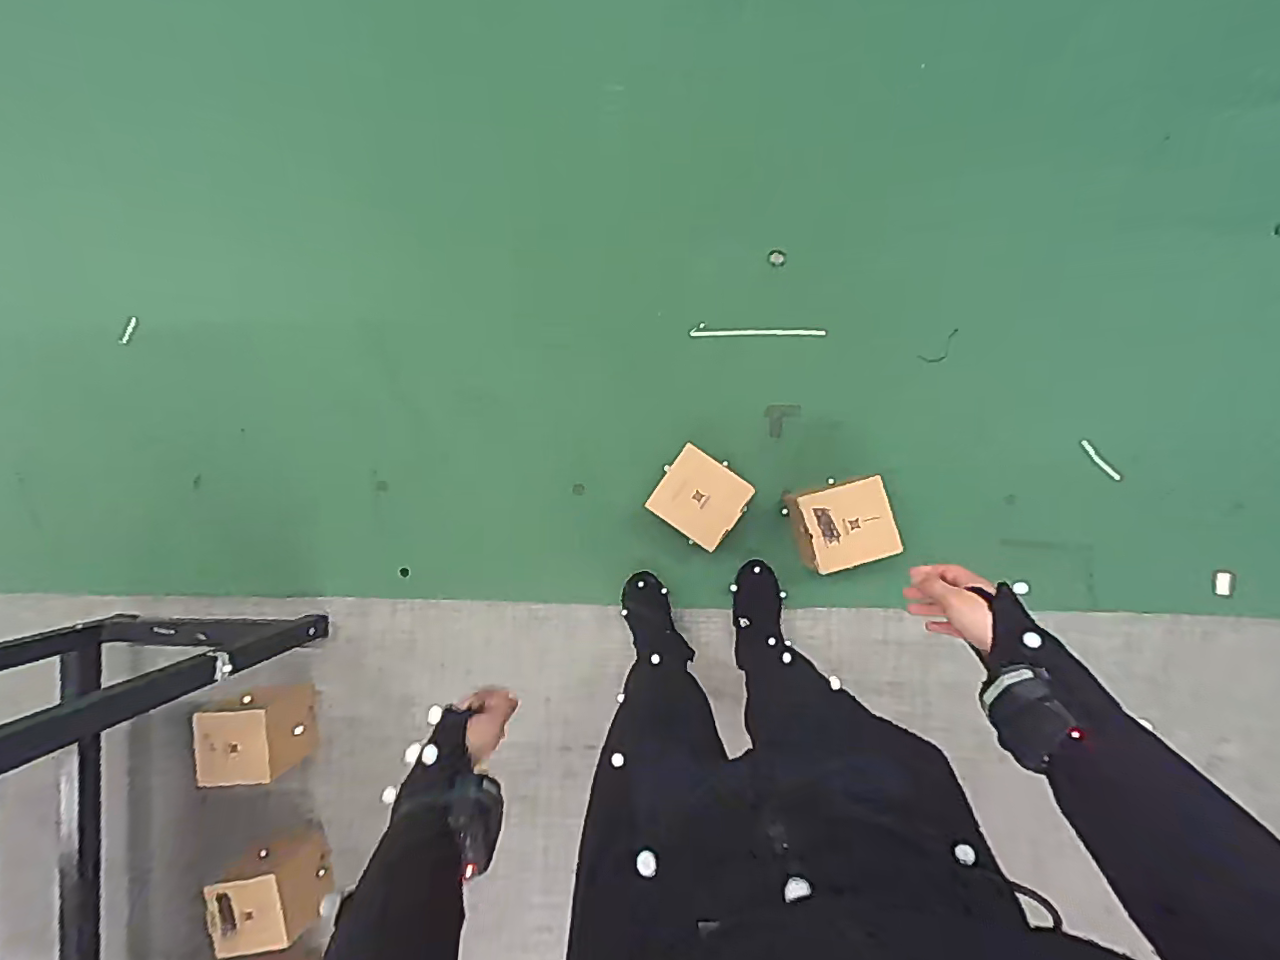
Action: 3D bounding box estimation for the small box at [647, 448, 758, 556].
[{"bbox_3d":[0.136,0.045,1.203,0.179,0.176,0.168,35,92,5],"label":"small box"}]

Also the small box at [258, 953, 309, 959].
[{"bbox_3d":[-0.885,1.275,1.278,0.179,0.176,0.168,4,90,5],"label":"small box"}]

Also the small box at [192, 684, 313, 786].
[{"bbox_3d":[-0.903,0.595,1.279,0.179,0.176,0.168,-5,89,4],"label":"small box"}]

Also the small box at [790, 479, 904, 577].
[{"bbox_3d":[0.438,0.101,1.179,0.179,0.176,0.168,-16,89,3],"label":"small box"}]
